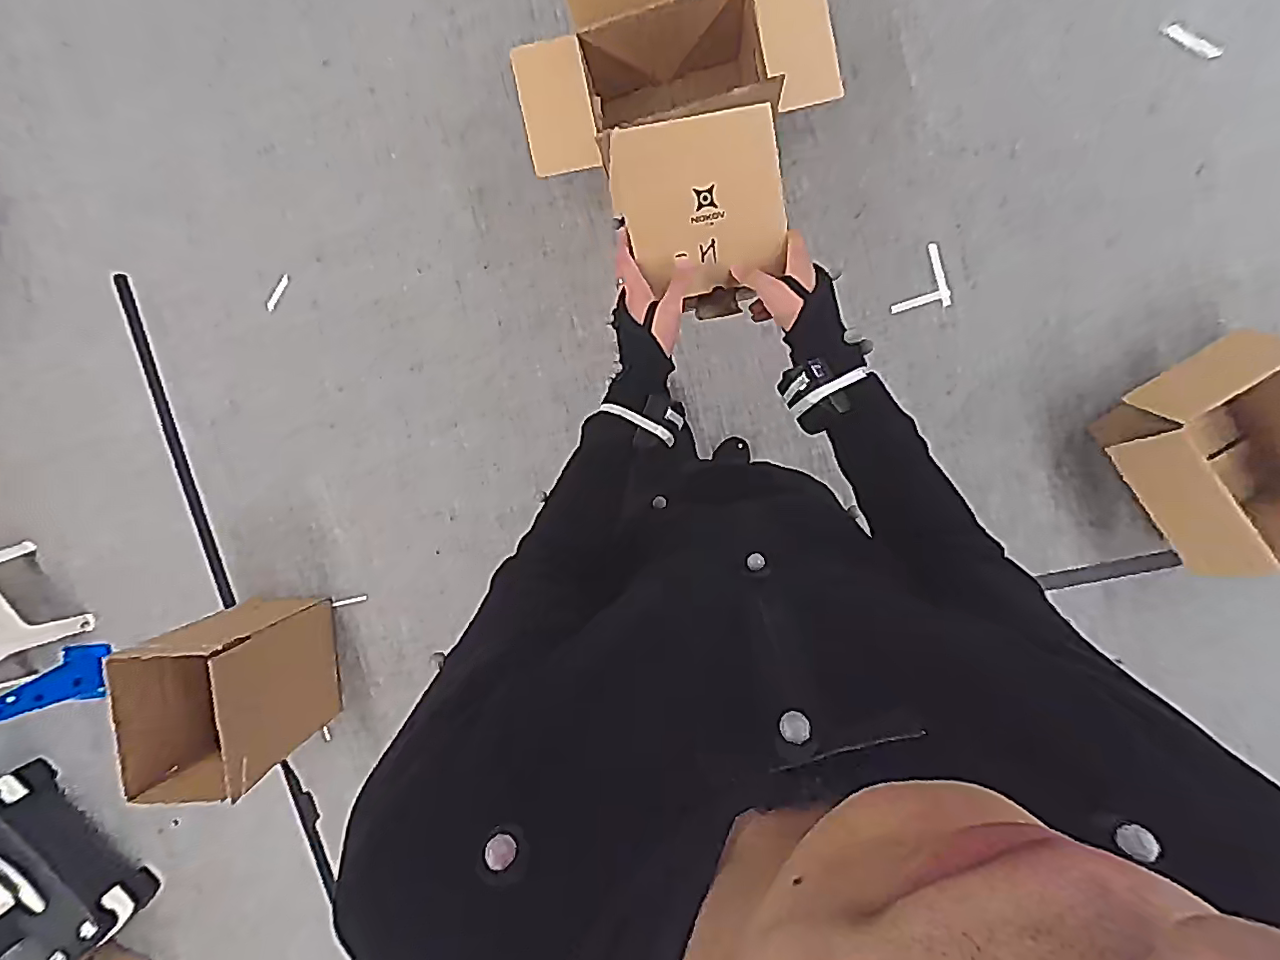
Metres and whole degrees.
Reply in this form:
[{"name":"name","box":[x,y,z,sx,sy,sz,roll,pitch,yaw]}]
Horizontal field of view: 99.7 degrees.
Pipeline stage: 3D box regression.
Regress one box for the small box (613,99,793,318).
[{"name":"small box","box":[0.063,-0.300,0.634,0.168,0.176,0.179,-11,102,-1]}]
